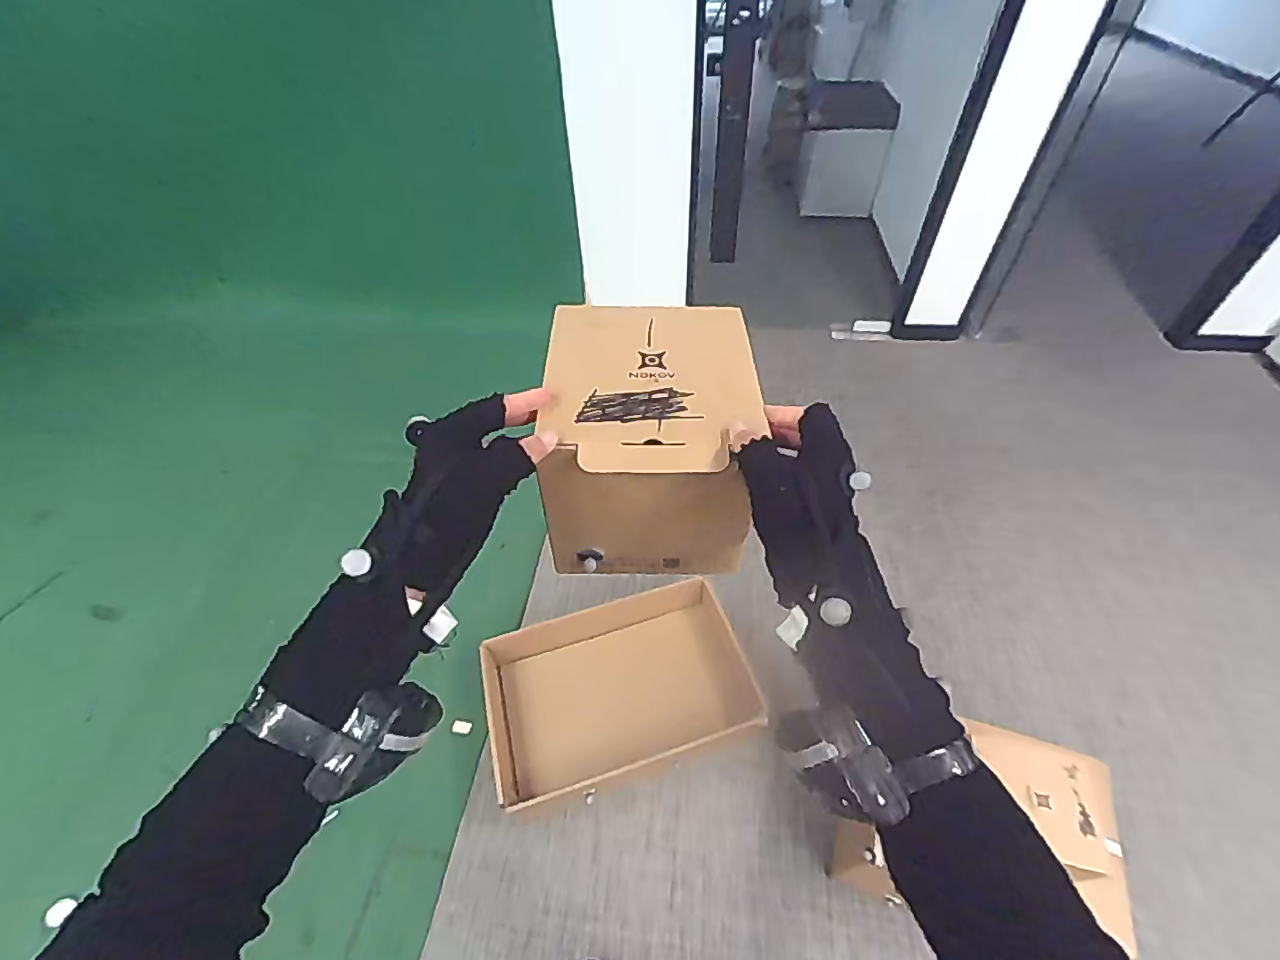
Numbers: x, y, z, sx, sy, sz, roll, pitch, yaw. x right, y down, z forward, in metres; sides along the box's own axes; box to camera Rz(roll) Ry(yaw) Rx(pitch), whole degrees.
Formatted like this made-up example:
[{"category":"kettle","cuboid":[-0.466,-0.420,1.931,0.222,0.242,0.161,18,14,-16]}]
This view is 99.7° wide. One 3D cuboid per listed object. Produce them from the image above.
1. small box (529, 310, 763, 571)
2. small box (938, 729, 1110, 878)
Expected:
[{"category":"small box","cuboid":[0.005,-0.031,0.484,0.168,0.176,0.179,0,49,-1]},{"category":"small box","cuboid":[0.624,0.549,0.912,0.179,0.176,0.168,9,50,11]}]
